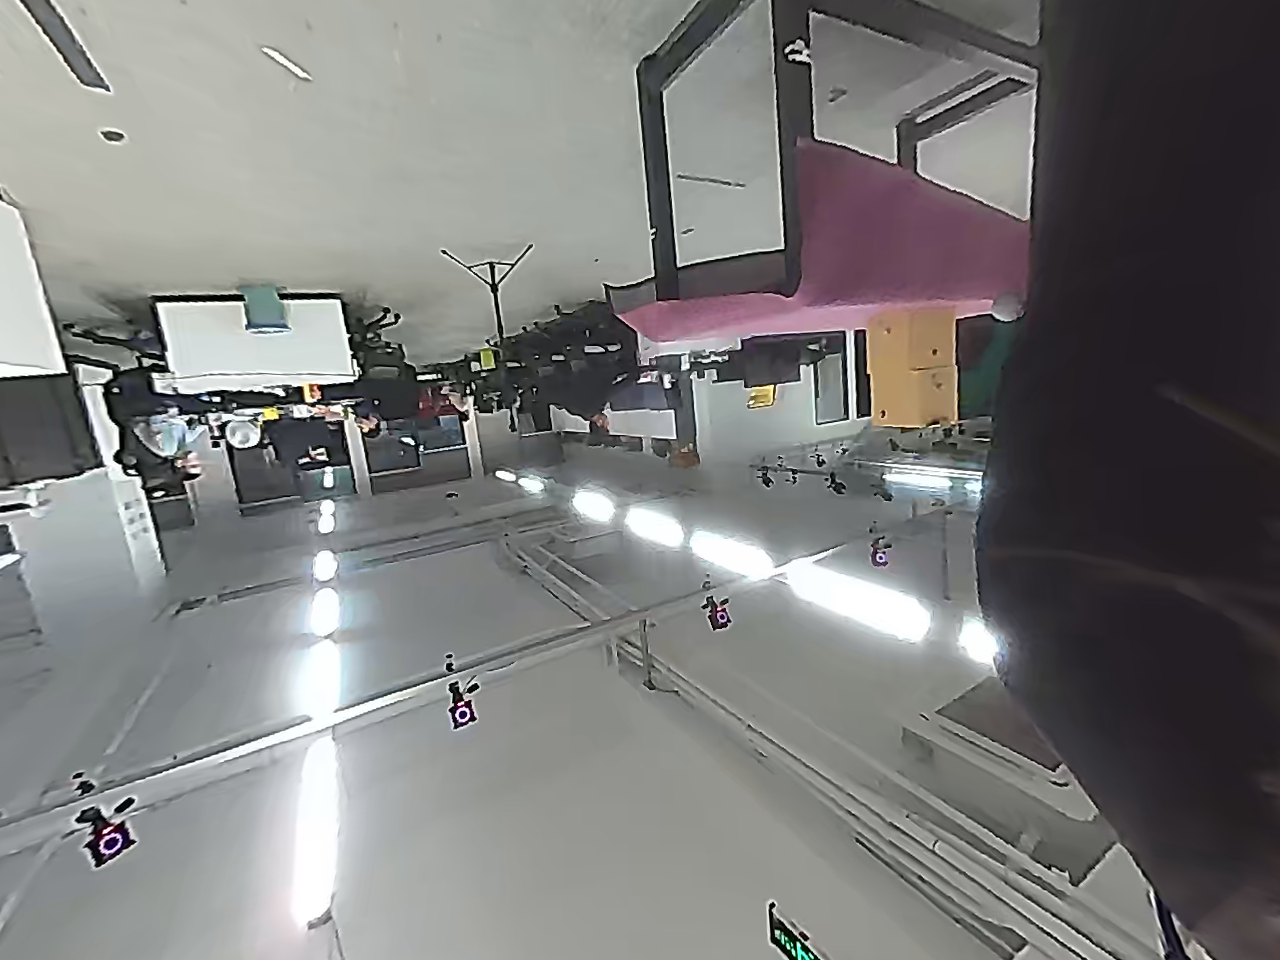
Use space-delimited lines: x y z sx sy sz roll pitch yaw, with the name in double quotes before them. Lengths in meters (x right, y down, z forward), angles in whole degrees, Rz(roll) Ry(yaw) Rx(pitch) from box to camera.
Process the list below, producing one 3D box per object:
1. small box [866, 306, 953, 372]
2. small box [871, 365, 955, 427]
"small box" 0.794 -0.413 1.593 0.179 0.176 0.168 -9 -170 -18
"small box" 0.826 -0.257 1.639 0.168 0.176 0.179 -11 -169 -23
